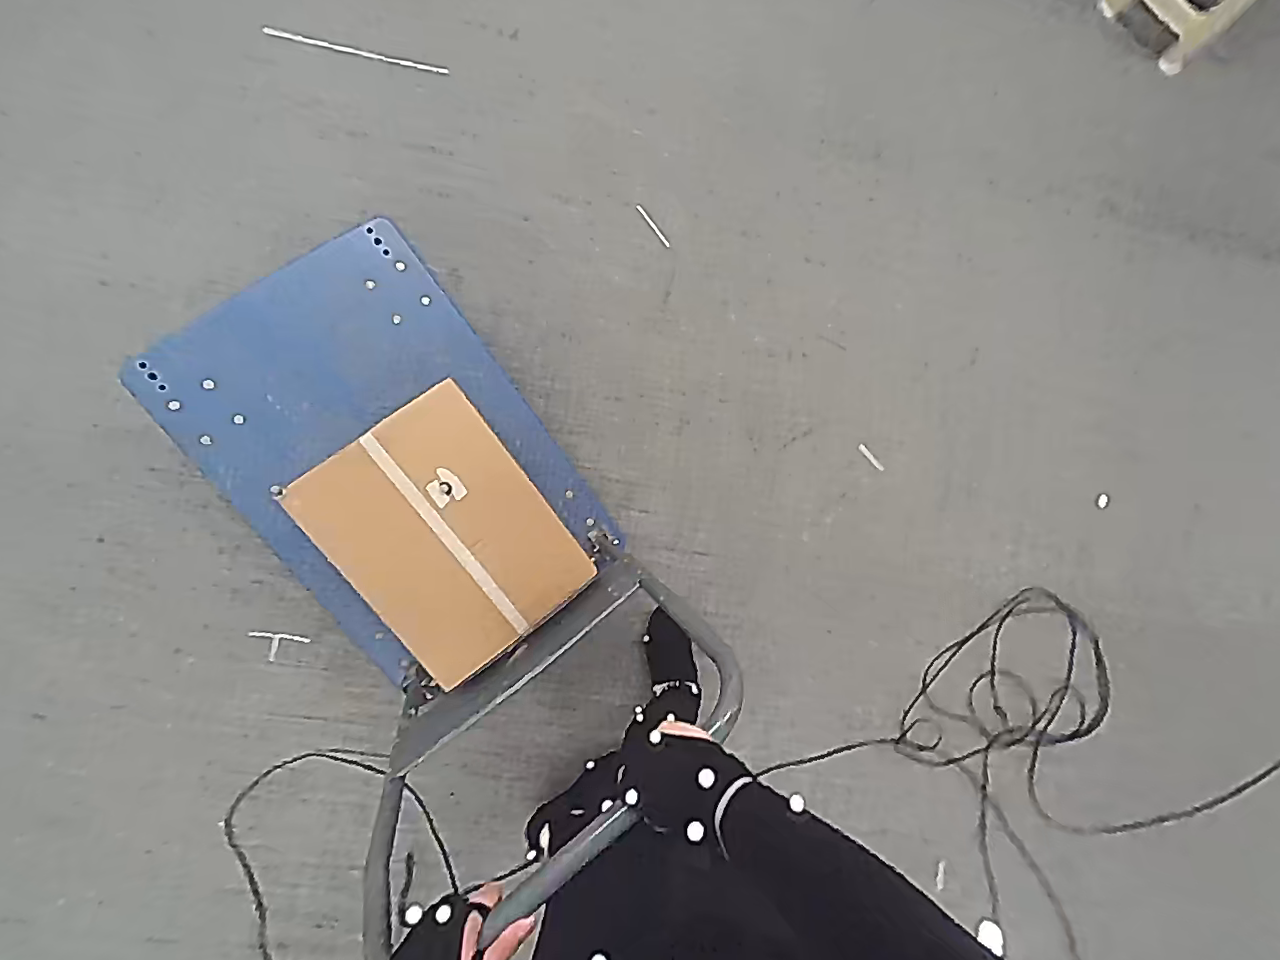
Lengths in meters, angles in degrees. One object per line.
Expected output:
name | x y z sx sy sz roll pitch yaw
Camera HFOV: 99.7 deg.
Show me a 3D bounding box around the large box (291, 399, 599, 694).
large box | -0.336 0.107 1.028 0.320 0.320 0.408 -38 101 -10
